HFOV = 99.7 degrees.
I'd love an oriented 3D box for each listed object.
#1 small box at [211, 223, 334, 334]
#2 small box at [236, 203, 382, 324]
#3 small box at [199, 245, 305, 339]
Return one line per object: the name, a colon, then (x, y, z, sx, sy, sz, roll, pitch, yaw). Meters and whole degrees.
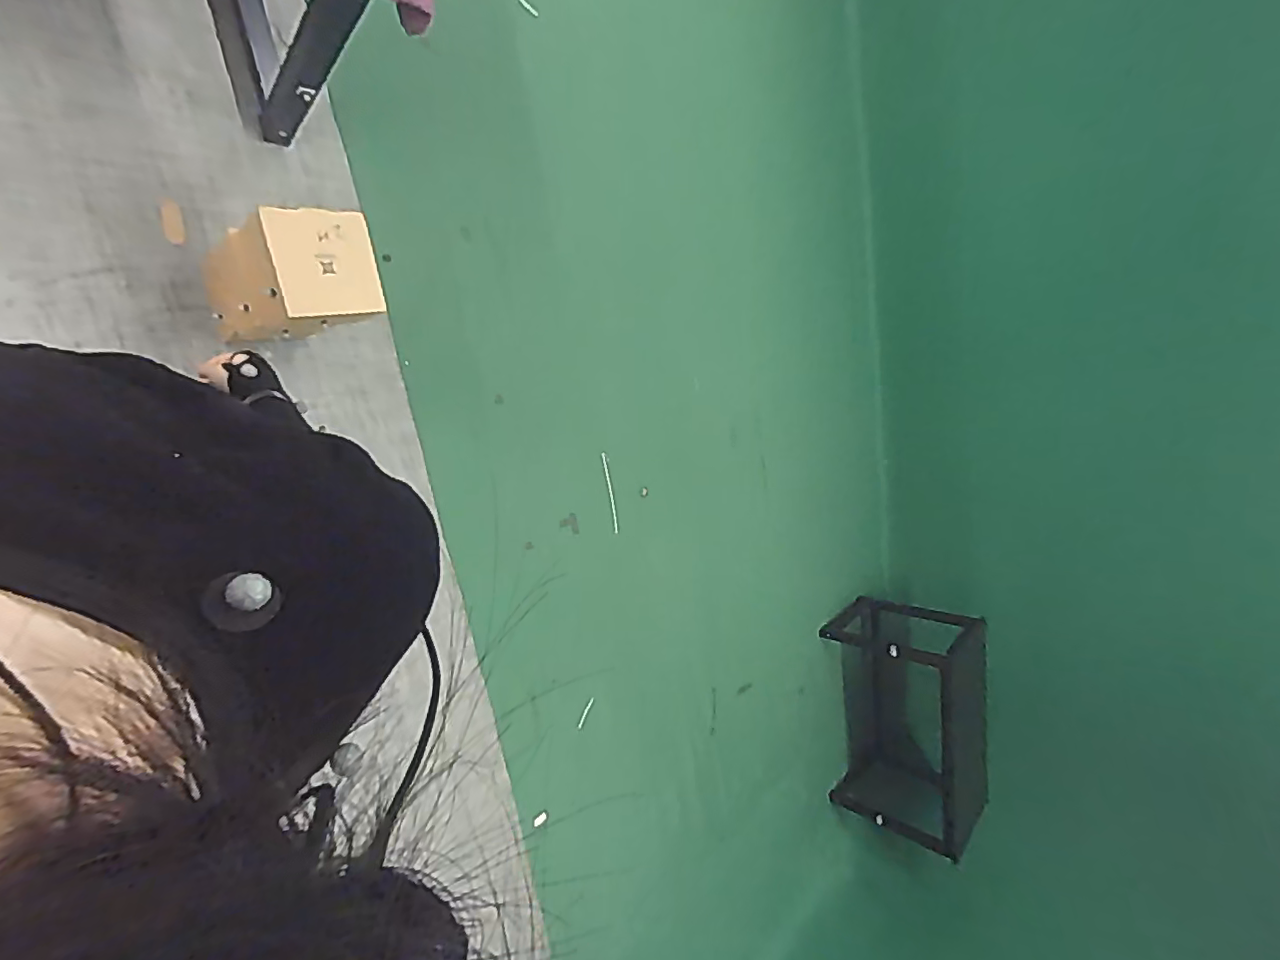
small box: (-0.732, -0.401, 1.091, 0.168, 0.176, 0.179, -22, 110, -42)
small box: (-0.604, -0.385, 0.987, 0.168, 0.176, 0.179, -22, 109, -43)
small box: (-0.850, -0.410, 1.201, 0.179, 0.176, 0.168, -19, 106, -43)
